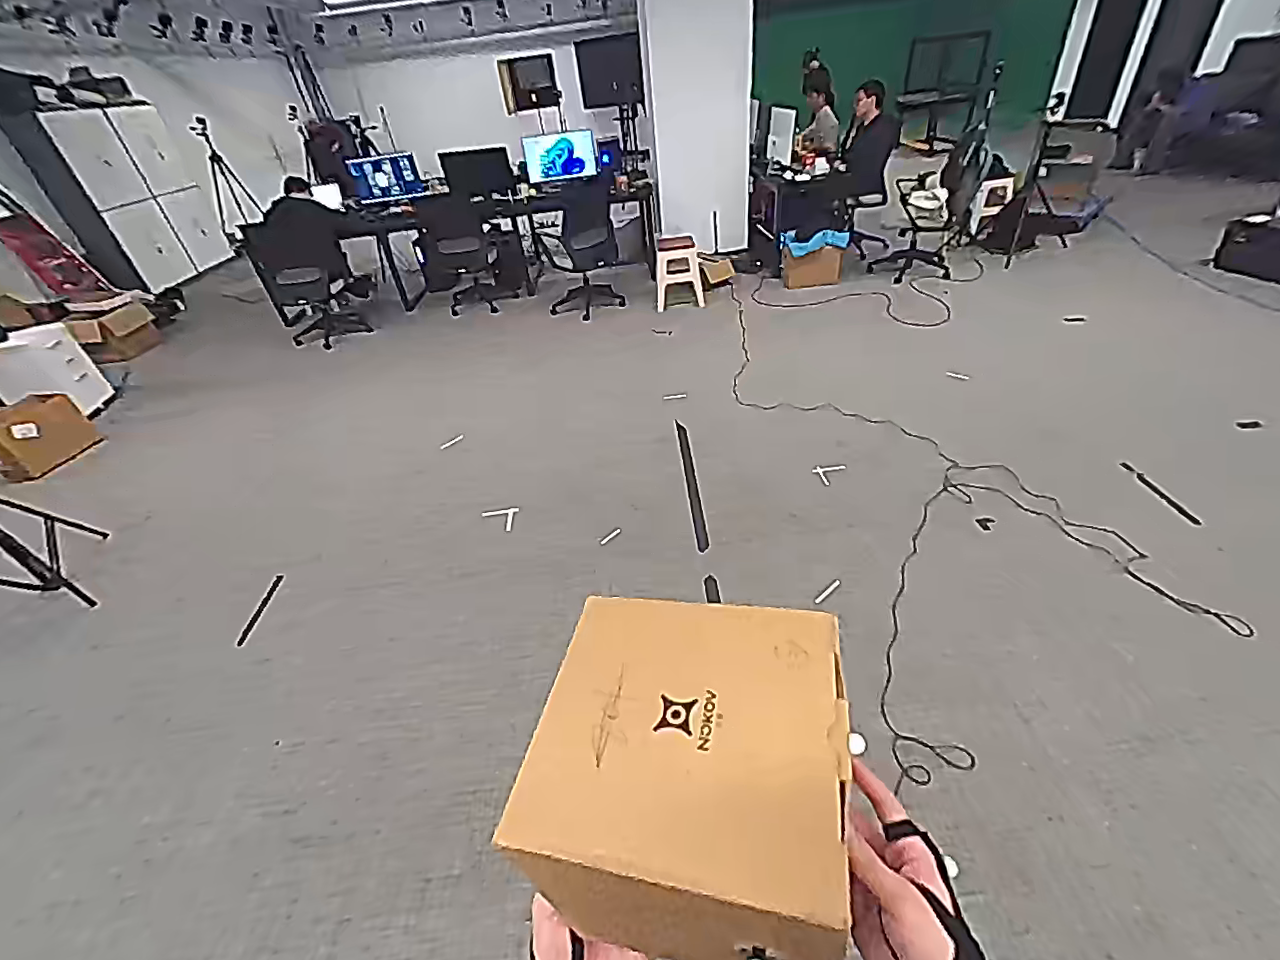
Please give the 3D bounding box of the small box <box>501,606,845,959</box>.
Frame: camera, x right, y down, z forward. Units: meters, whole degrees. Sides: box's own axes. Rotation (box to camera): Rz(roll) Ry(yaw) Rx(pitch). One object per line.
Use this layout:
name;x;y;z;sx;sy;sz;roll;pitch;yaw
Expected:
small box;0.041;0.208;0.370;0.179;0.176;0.168;-2;36;18
